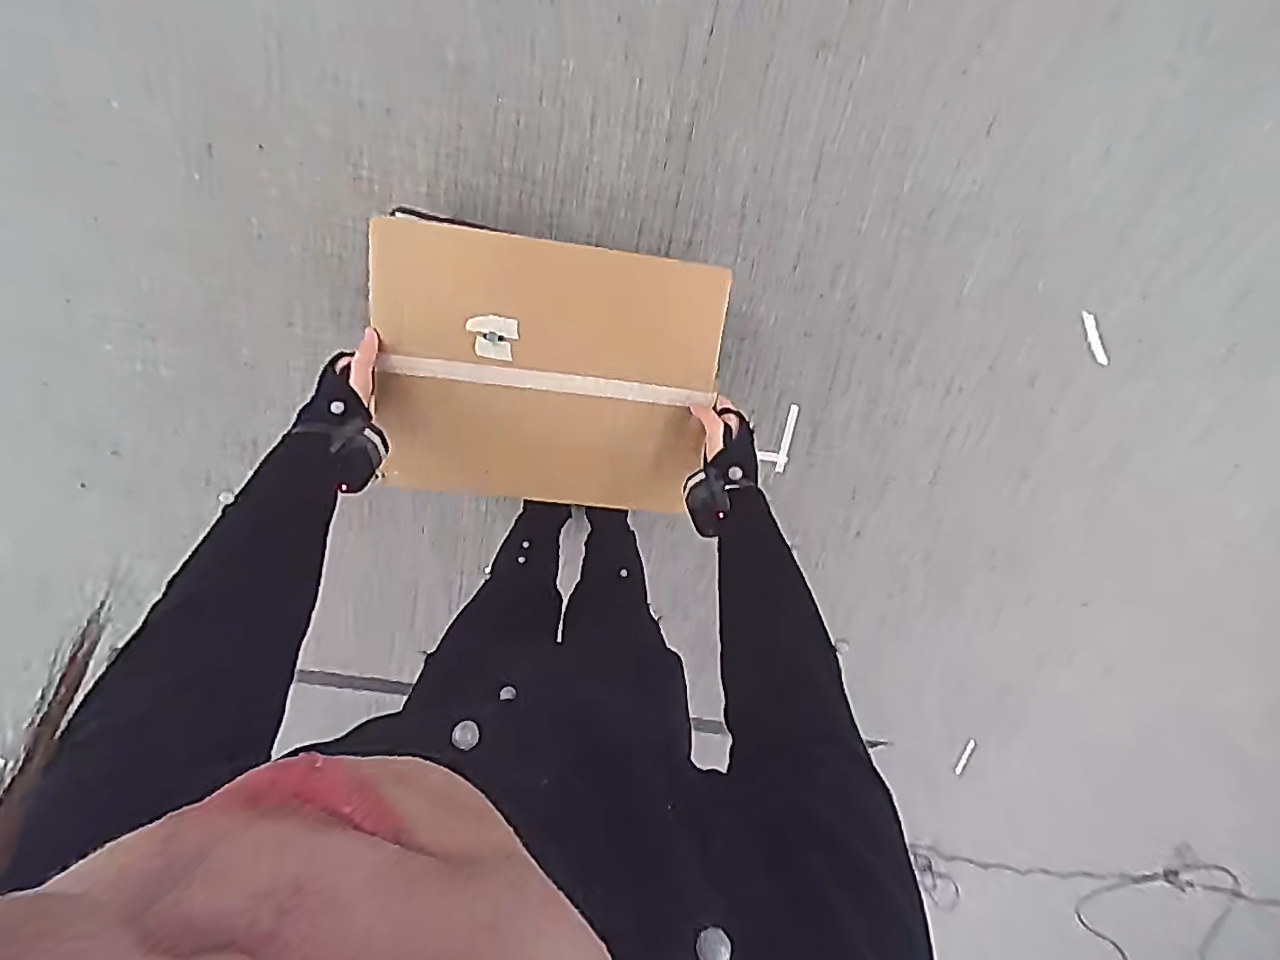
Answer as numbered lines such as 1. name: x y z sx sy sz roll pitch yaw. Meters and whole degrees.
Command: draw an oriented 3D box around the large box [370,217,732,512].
1. large box: -0.116 -0.169 0.780 0.408 0.320 0.320 6 109 -6
